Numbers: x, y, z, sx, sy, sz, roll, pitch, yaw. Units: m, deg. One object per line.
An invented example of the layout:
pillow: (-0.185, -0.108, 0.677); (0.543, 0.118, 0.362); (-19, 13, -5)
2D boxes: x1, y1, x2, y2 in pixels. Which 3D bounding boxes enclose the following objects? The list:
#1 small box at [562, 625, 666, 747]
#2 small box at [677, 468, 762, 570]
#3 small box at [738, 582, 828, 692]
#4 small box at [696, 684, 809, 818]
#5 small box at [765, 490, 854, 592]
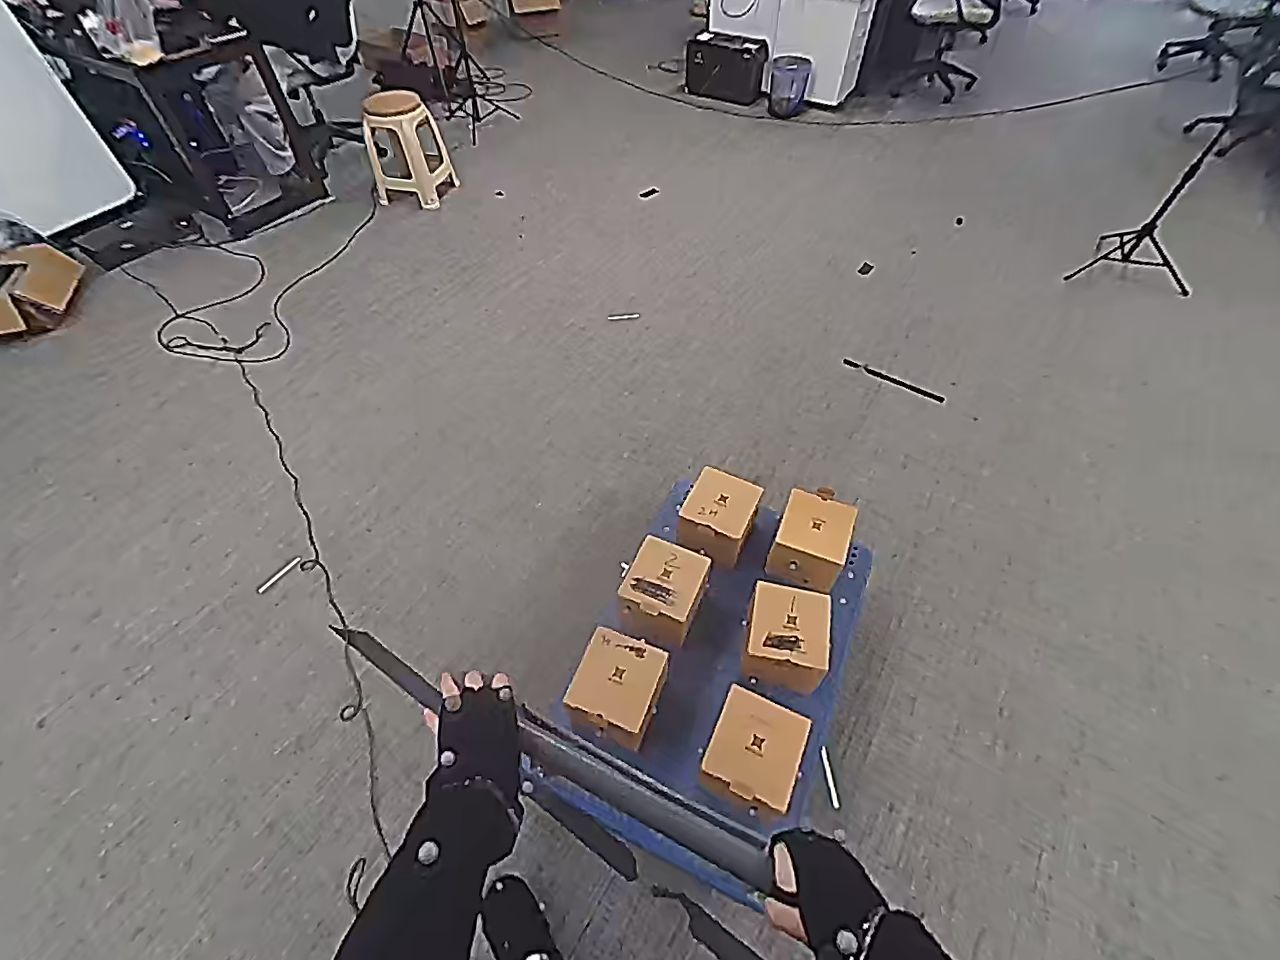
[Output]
small box: (-0.049, 0.451, 1.172); (0.168, 0.176, 0.179); (19, 56, 14)
small box: (0.204, 0.105, 1.428); (0.168, 0.176, 0.179); (23, 57, 17)
small box: (0.323, 0.362, 1.235); (0.168, 0.176, 0.179); (11, 53, 9)
small box: (0.221, 0.552, 1.093); (0.168, 0.176, 0.179); (22, 55, 16)
small box: (0.429, 0.161, 1.386); (0.168, 0.176, 0.179); (19, 55, 14)
